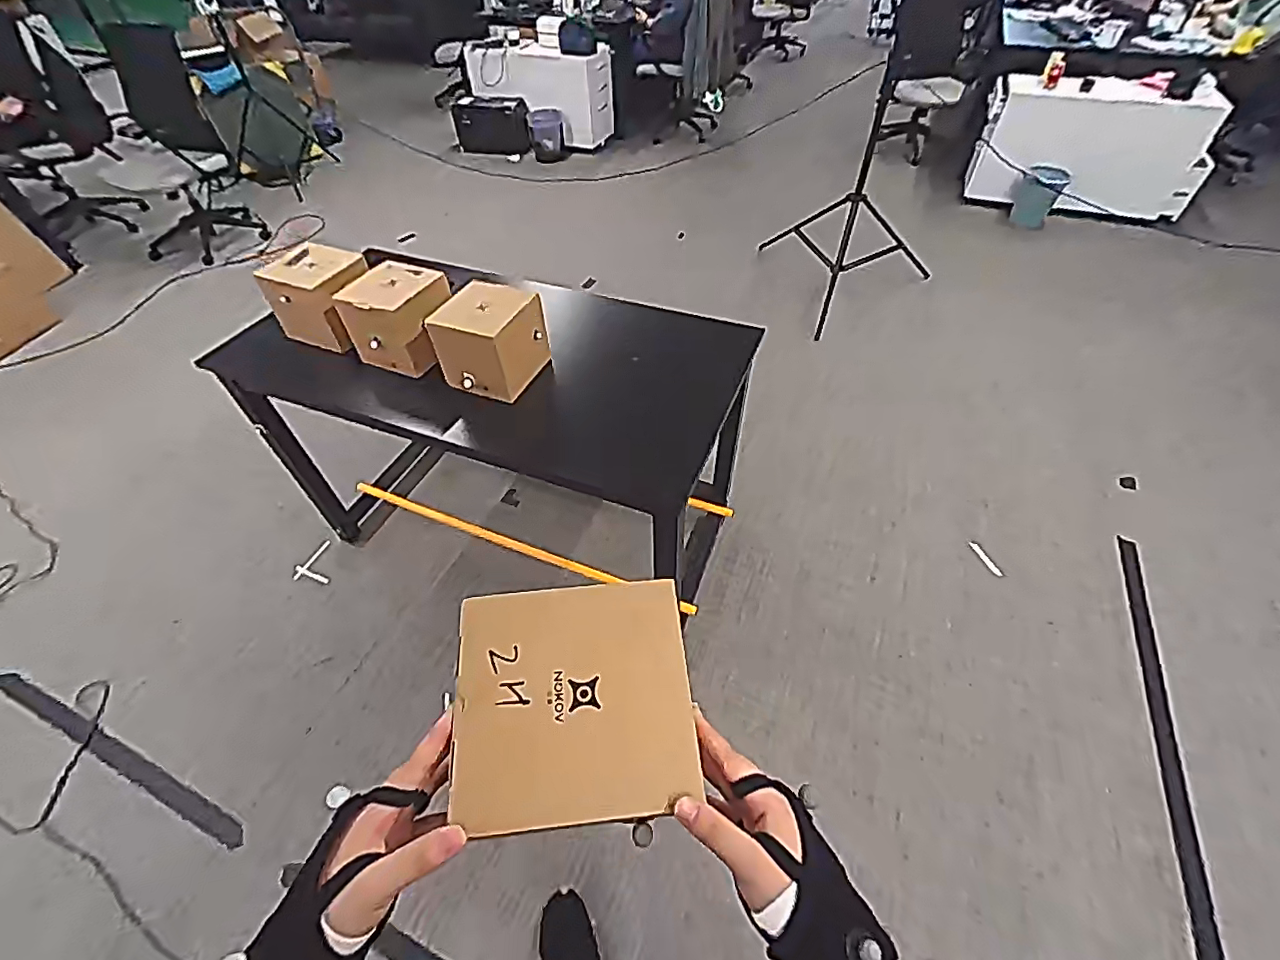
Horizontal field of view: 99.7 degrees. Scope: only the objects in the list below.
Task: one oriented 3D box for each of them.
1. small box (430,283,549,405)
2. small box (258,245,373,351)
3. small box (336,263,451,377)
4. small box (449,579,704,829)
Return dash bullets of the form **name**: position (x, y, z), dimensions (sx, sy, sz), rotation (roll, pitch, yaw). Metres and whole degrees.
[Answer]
- **small box**: position (-0.309, -0.291, 1.158), dimensions (0.168, 0.176, 0.179), rotation (15, 52, 16)
- **small box**: position (-0.740, -0.430, 1.285), dimensions (0.179, 0.176, 0.168), rotation (18, 52, 15)
- **small box**: position (-0.529, -0.358, 1.219), dimensions (0.168, 0.176, 0.179), rotation (18, 52, 15)
- **small box**: position (-0.051, 0.198, 0.475), dimensions (0.179, 0.176, 0.168), rotation (-5, 58, -3)
